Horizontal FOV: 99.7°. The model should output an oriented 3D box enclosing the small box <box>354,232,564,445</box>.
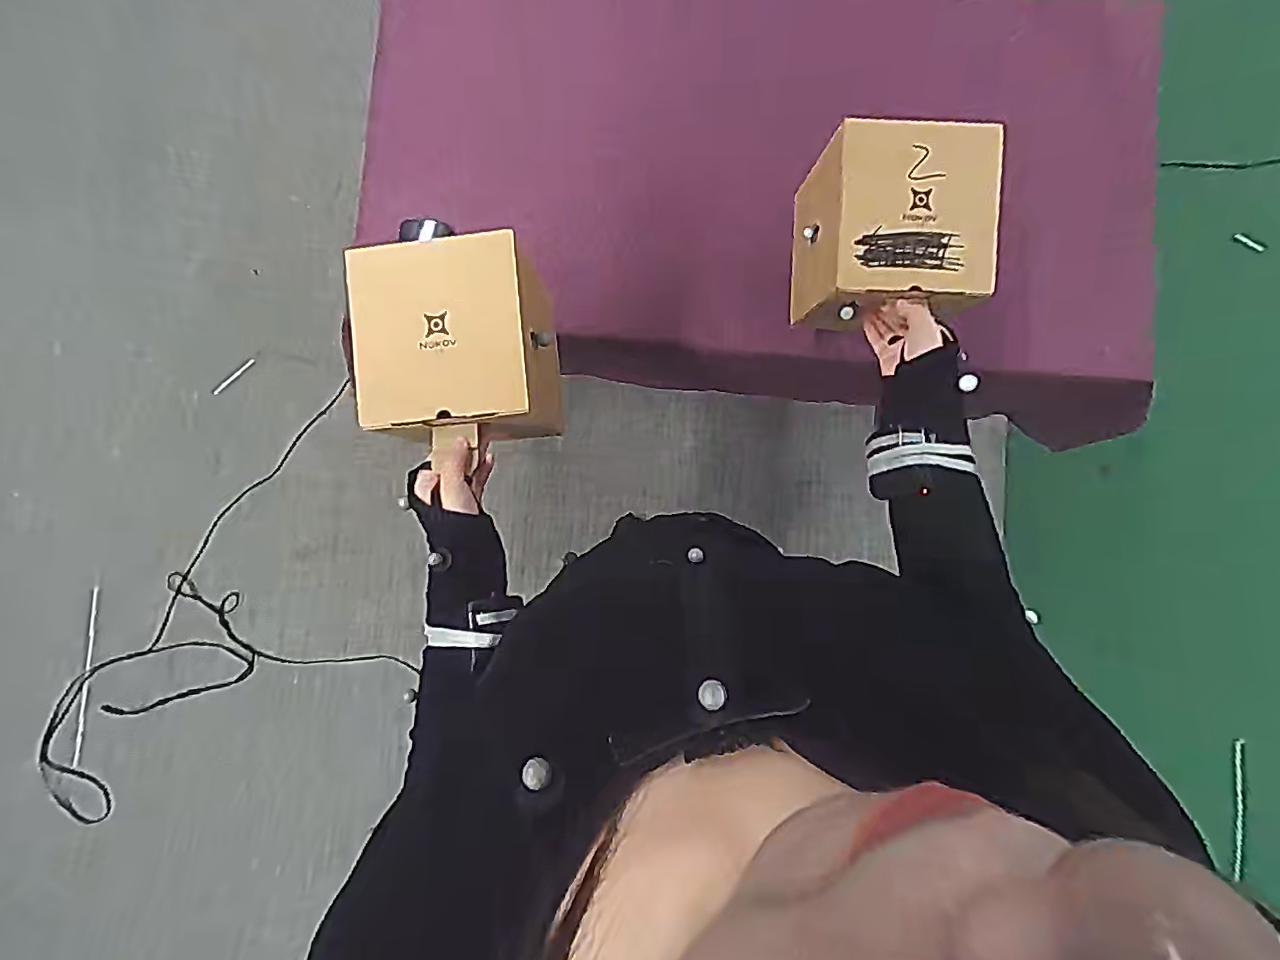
[{"bbox_3d":[-0.182,-0.138,0.586,0.168,0.176,0.179,-5,88,2],"label":"small box"}]
